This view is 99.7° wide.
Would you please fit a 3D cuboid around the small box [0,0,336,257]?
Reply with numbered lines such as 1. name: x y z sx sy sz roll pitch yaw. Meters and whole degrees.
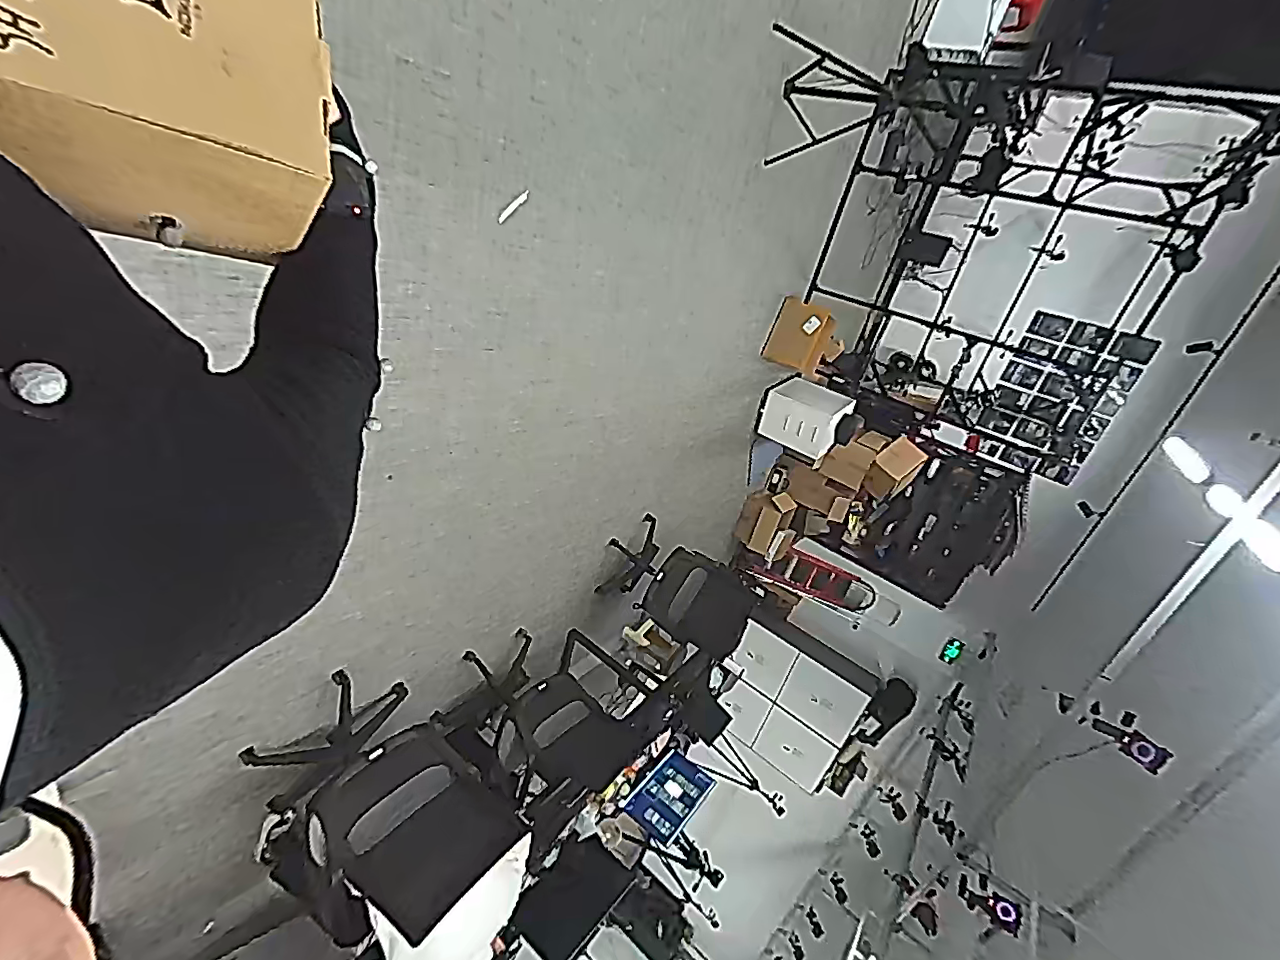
1. small box: -0.351 -0.291 0.405 0.179 0.176 0.168 -2 85 -43
